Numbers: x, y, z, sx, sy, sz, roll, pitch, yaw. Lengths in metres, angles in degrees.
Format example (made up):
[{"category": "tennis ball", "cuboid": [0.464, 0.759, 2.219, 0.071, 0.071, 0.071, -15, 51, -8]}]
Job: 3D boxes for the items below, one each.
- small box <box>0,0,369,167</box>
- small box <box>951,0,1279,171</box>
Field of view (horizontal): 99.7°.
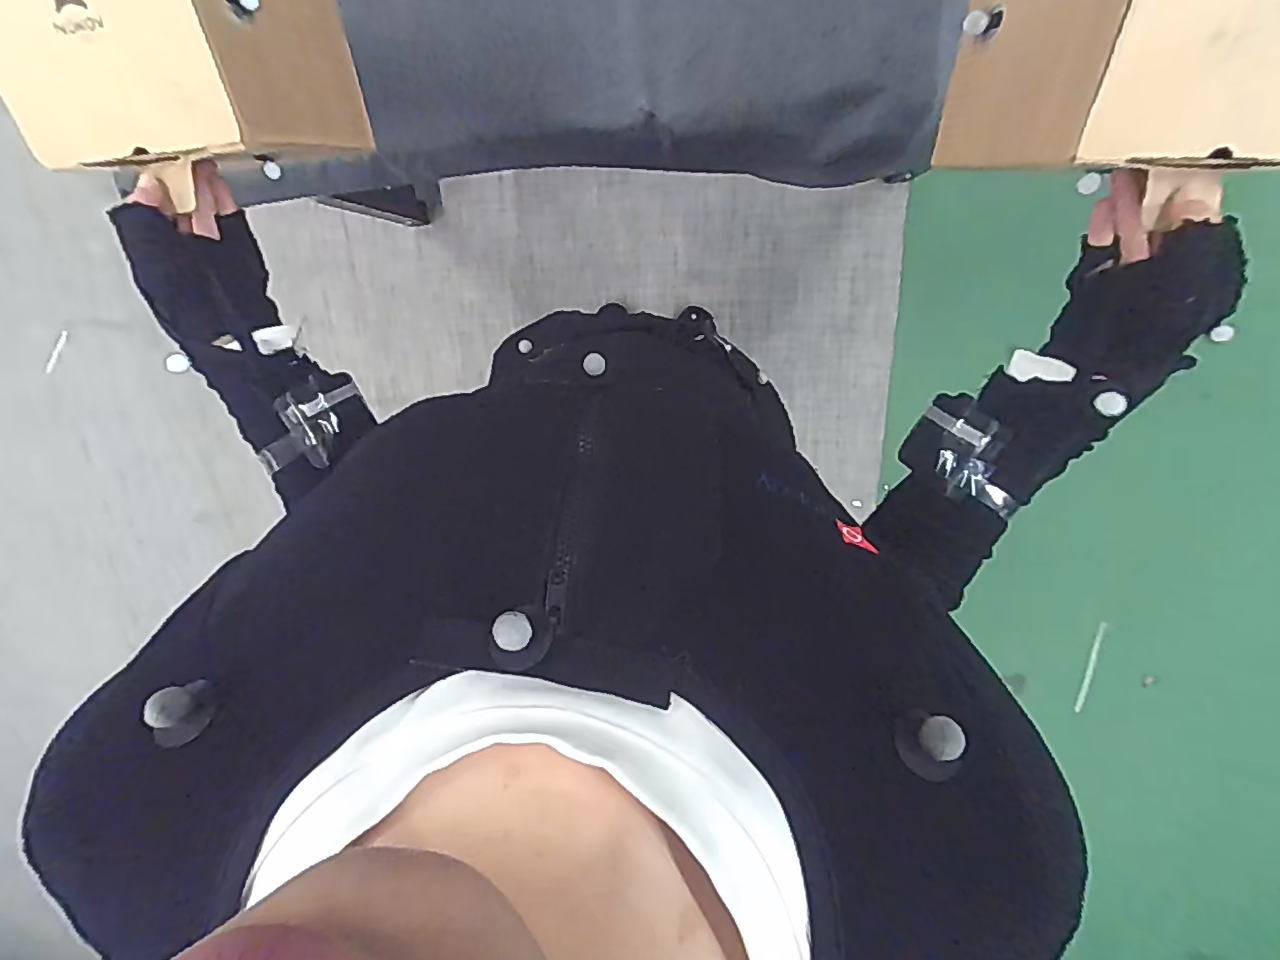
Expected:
[{"category": "small box", "cuboid": [-0.335, -0.337, 0.392, 0.168, 0.176, 0.179, -2, 119, 9]}, {"category": "small box", "cuboid": [0.324, -0.292, 0.327, 0.168, 0.176, 0.179, 0, 121, -1]}]
